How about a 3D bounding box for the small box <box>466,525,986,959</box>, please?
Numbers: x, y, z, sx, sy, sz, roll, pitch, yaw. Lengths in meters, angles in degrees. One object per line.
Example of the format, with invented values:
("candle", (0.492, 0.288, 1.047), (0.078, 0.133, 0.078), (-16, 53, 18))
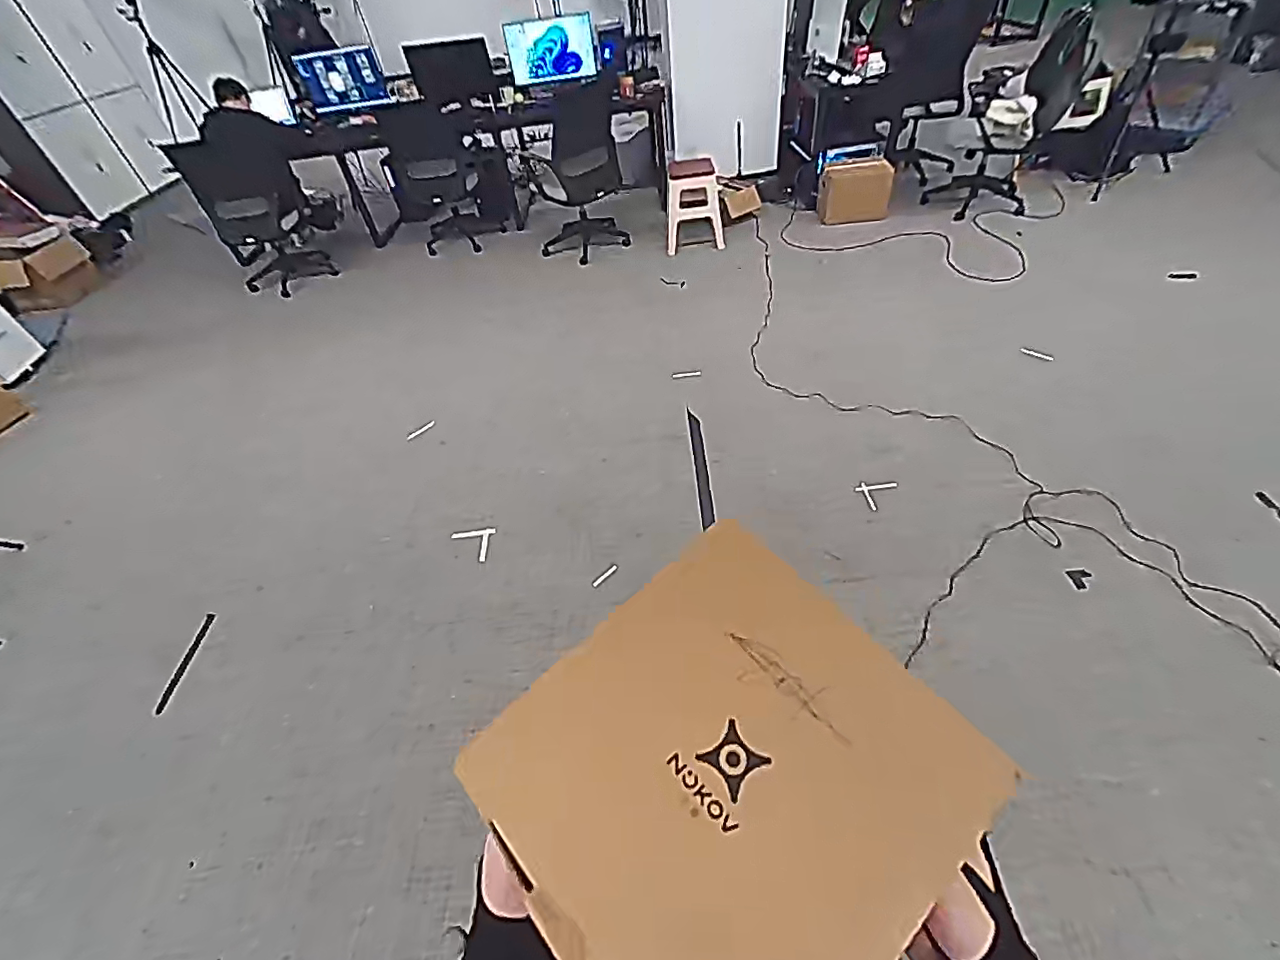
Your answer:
("small box", (0.041, 0.166, 0.308), (0.179, 0.176, 0.168), (-40, 64, -20))
